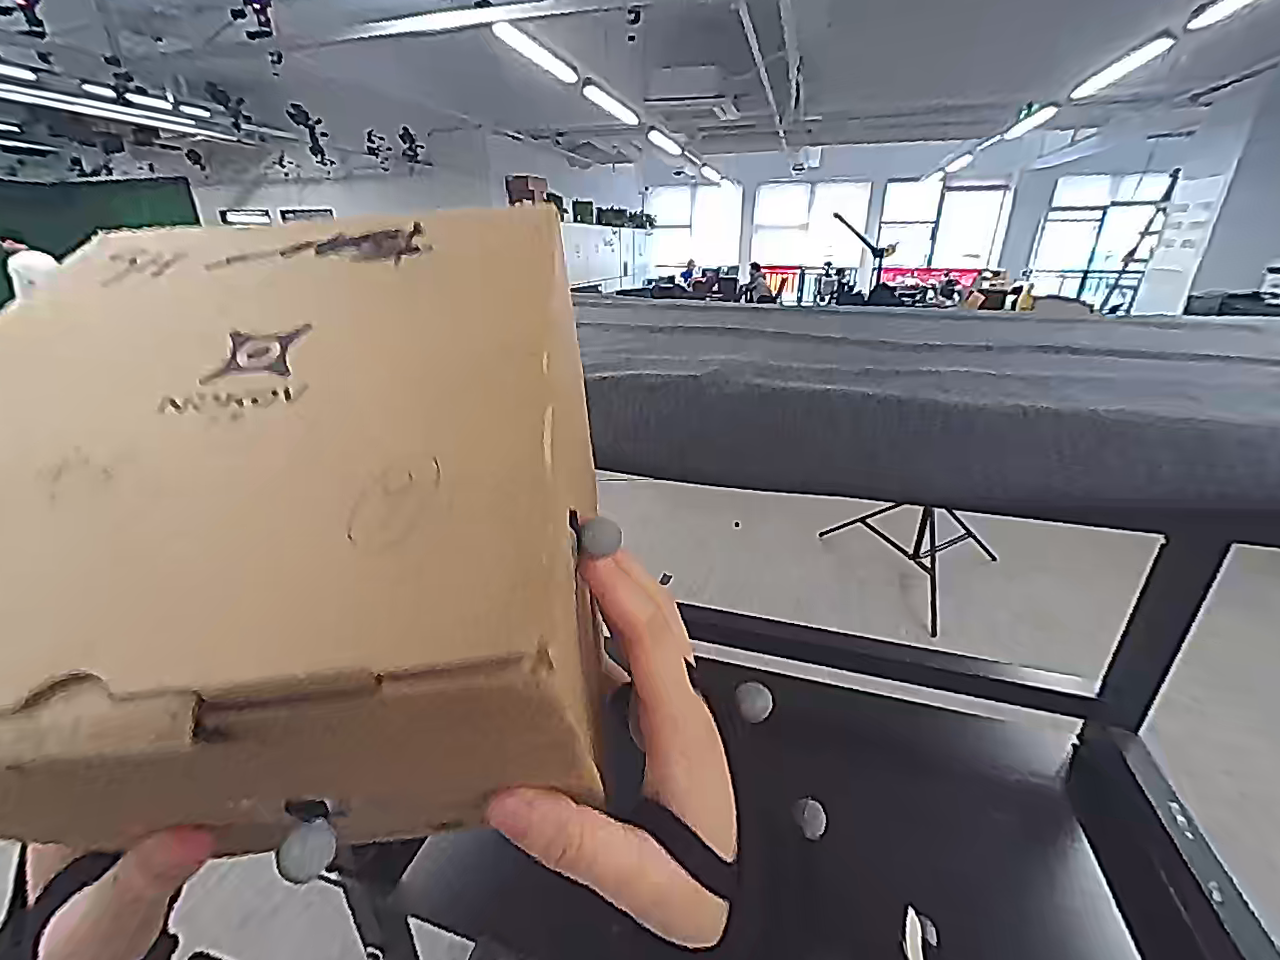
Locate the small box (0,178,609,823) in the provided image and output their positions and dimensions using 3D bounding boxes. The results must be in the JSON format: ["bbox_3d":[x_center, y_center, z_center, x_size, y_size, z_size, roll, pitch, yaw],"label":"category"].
[{"bbox_3d":[-0.100,0.016,0.201,0.168,0.176,0.179,-4,52,-4],"label":"small box"}]
